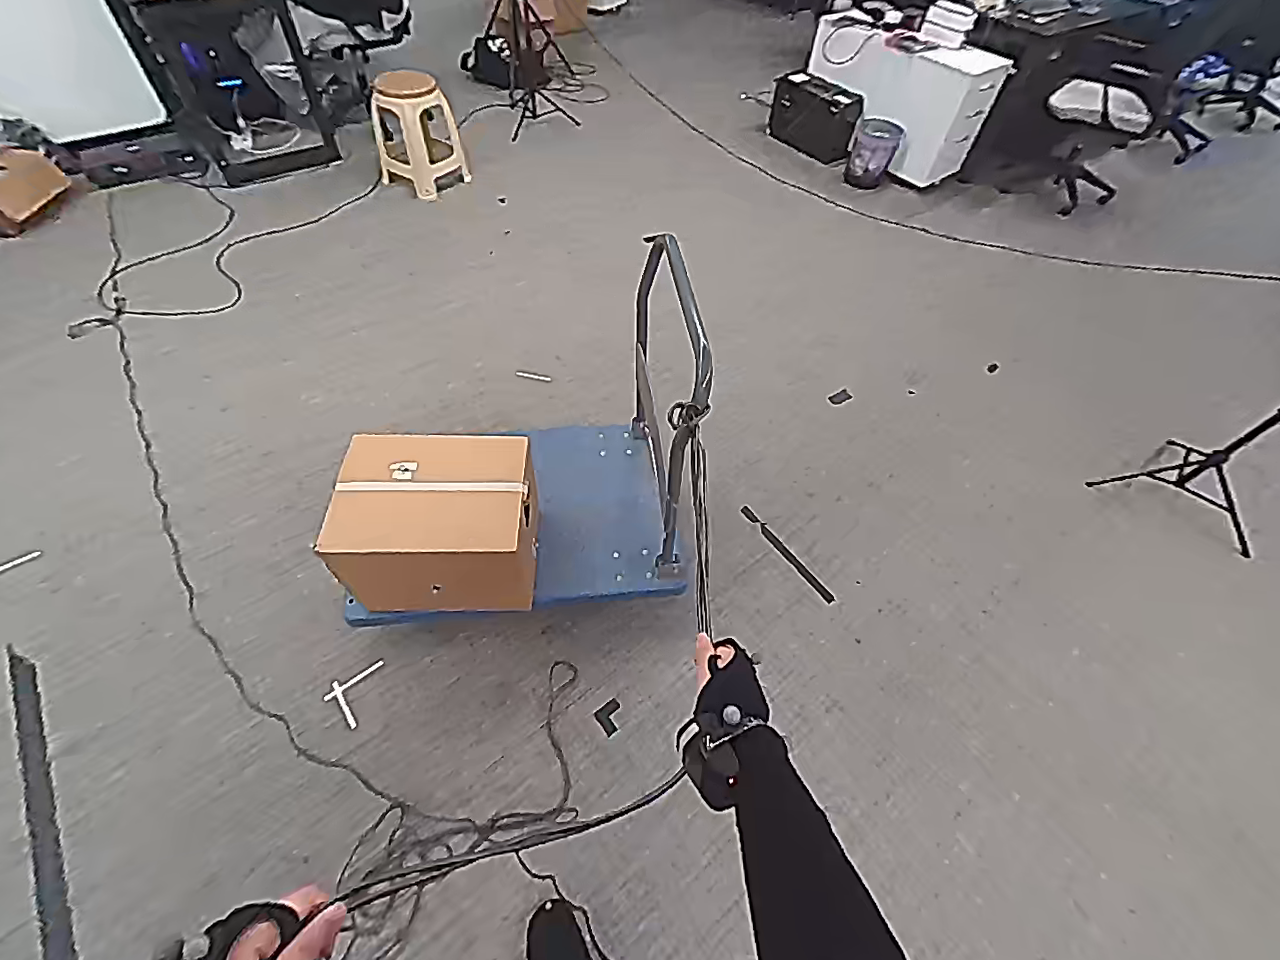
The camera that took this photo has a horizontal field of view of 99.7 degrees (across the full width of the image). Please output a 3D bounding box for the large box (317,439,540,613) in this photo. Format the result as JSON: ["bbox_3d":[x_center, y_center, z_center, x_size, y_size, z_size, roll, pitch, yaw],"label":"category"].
[{"bbox_3d":[-0.460,0.115,1.295,0.408,0.320,0.320,0,53,-4],"label":"large box"}]
